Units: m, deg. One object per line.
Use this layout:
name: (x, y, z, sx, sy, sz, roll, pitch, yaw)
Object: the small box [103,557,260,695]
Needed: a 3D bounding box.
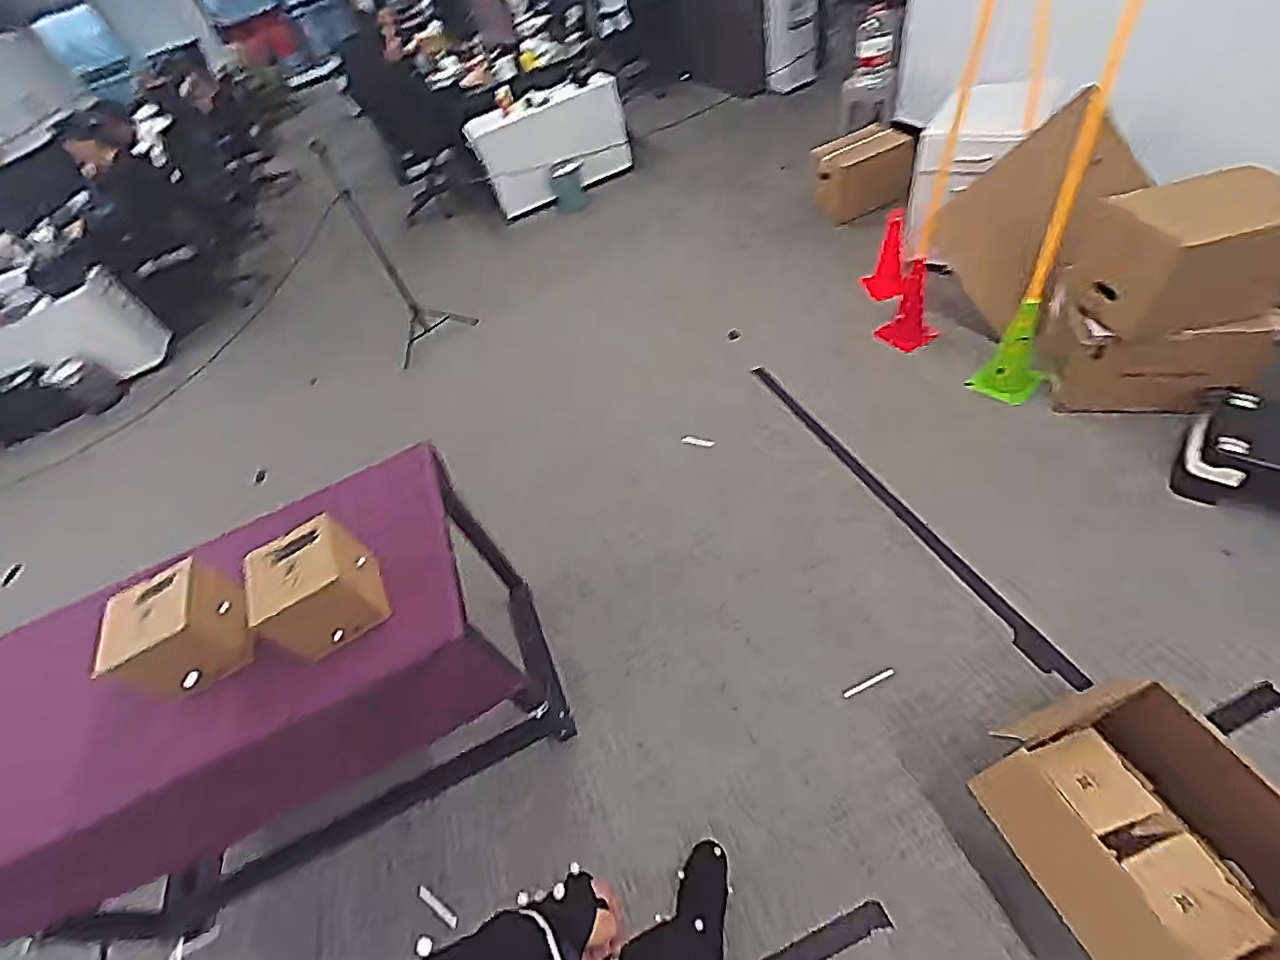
small box: (-0.895, 0.293, 1.077, 0.168, 0.176, 0.179, -29, 50, -9)
